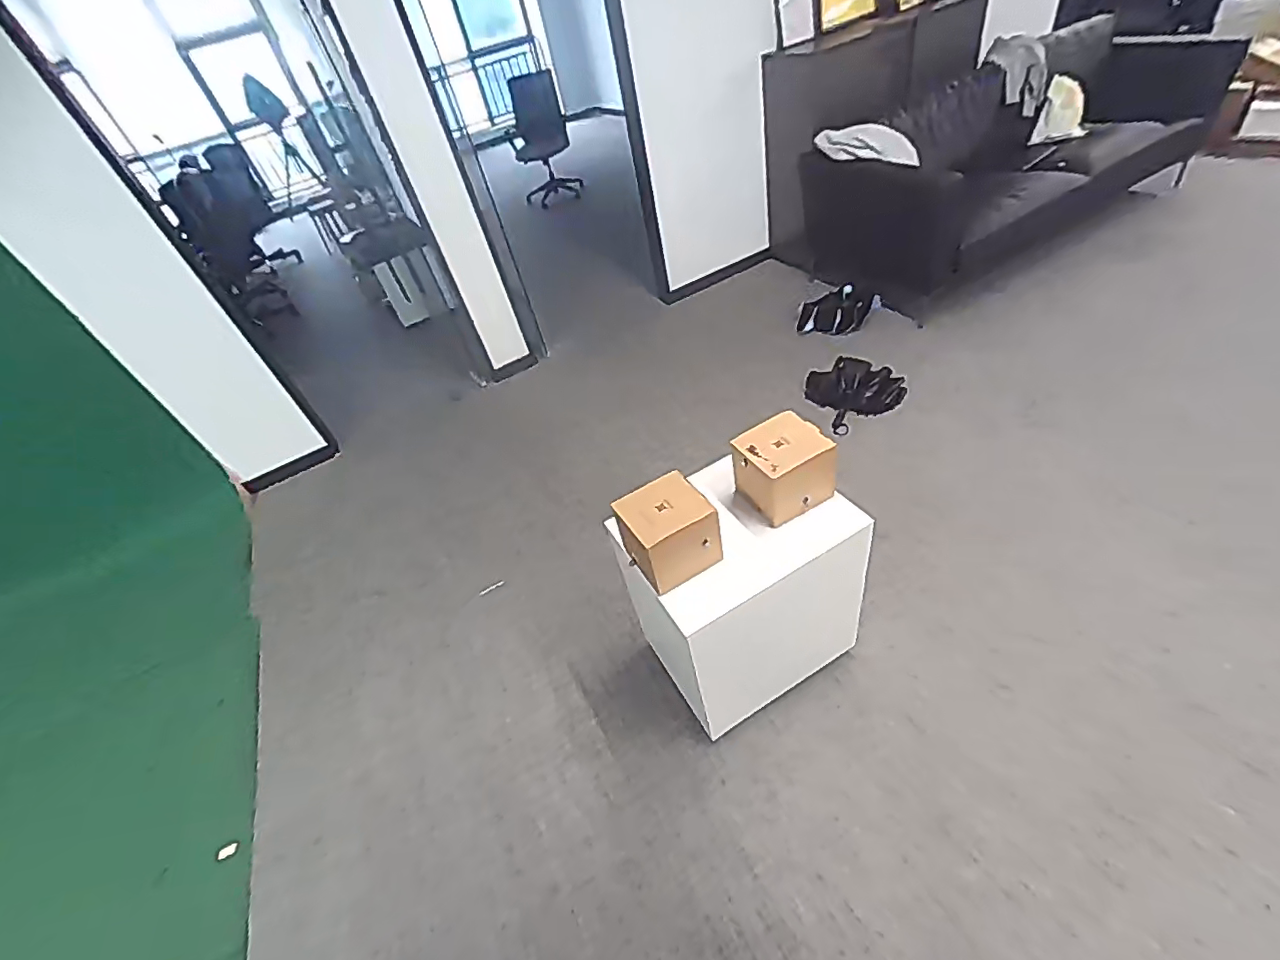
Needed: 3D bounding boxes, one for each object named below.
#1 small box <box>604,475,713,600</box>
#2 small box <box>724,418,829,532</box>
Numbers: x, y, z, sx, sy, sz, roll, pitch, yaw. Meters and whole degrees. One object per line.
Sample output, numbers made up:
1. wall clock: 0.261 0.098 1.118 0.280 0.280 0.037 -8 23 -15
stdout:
1. small box: 0.045 0.125 1.183 0.179 0.176 0.168 -28 43 -18
2. small box: 0.314 -0.011 1.268 0.179 0.176 0.168 -26 44 -15
